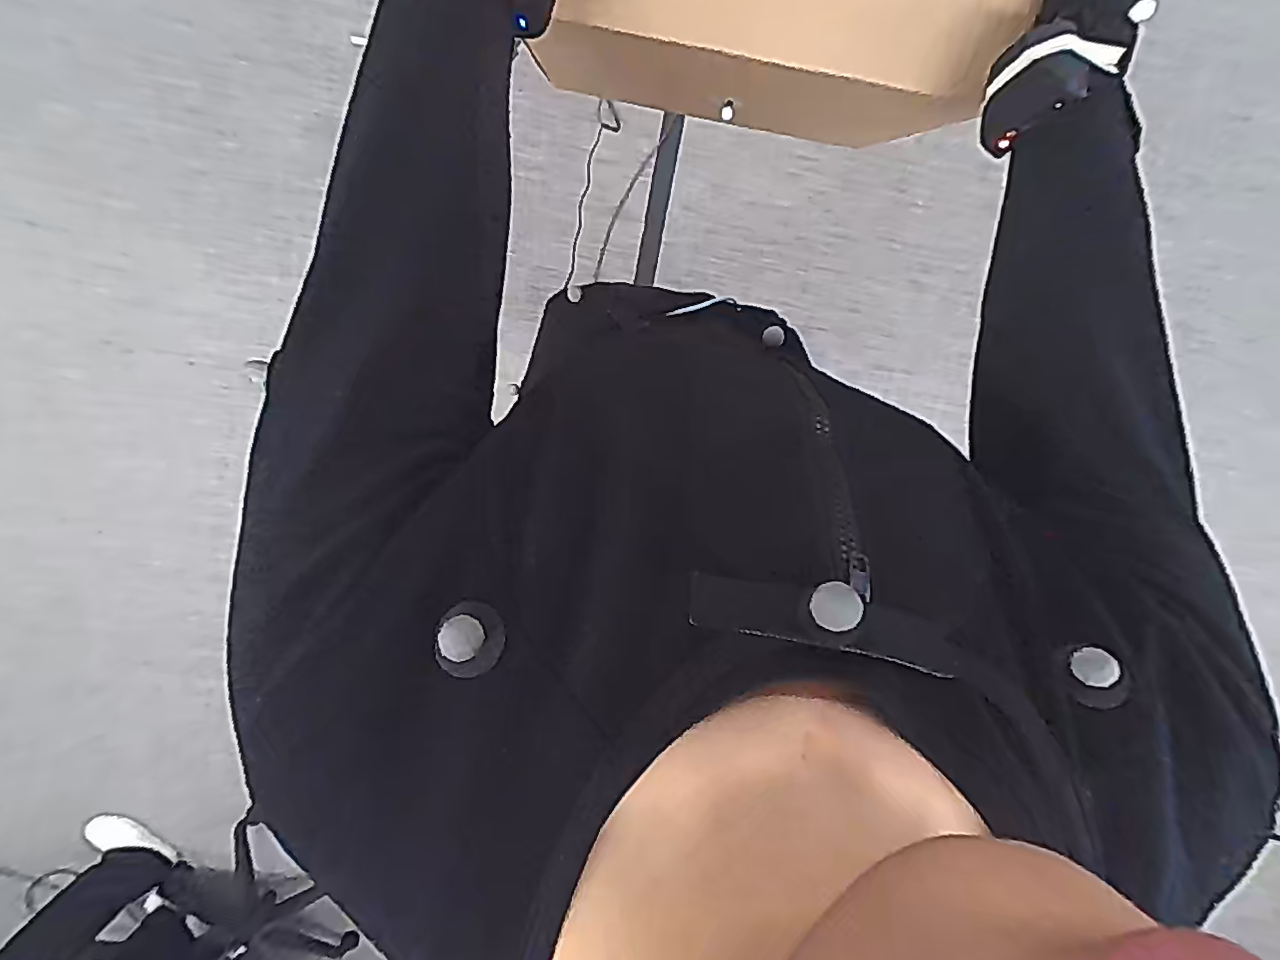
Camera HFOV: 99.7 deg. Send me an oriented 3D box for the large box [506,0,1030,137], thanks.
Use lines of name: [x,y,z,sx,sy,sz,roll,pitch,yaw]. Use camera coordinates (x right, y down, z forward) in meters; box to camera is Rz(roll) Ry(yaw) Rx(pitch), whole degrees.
large box: [0.117,-0.536,0.491,0.408,0.320,0.320,9,115,-4]
